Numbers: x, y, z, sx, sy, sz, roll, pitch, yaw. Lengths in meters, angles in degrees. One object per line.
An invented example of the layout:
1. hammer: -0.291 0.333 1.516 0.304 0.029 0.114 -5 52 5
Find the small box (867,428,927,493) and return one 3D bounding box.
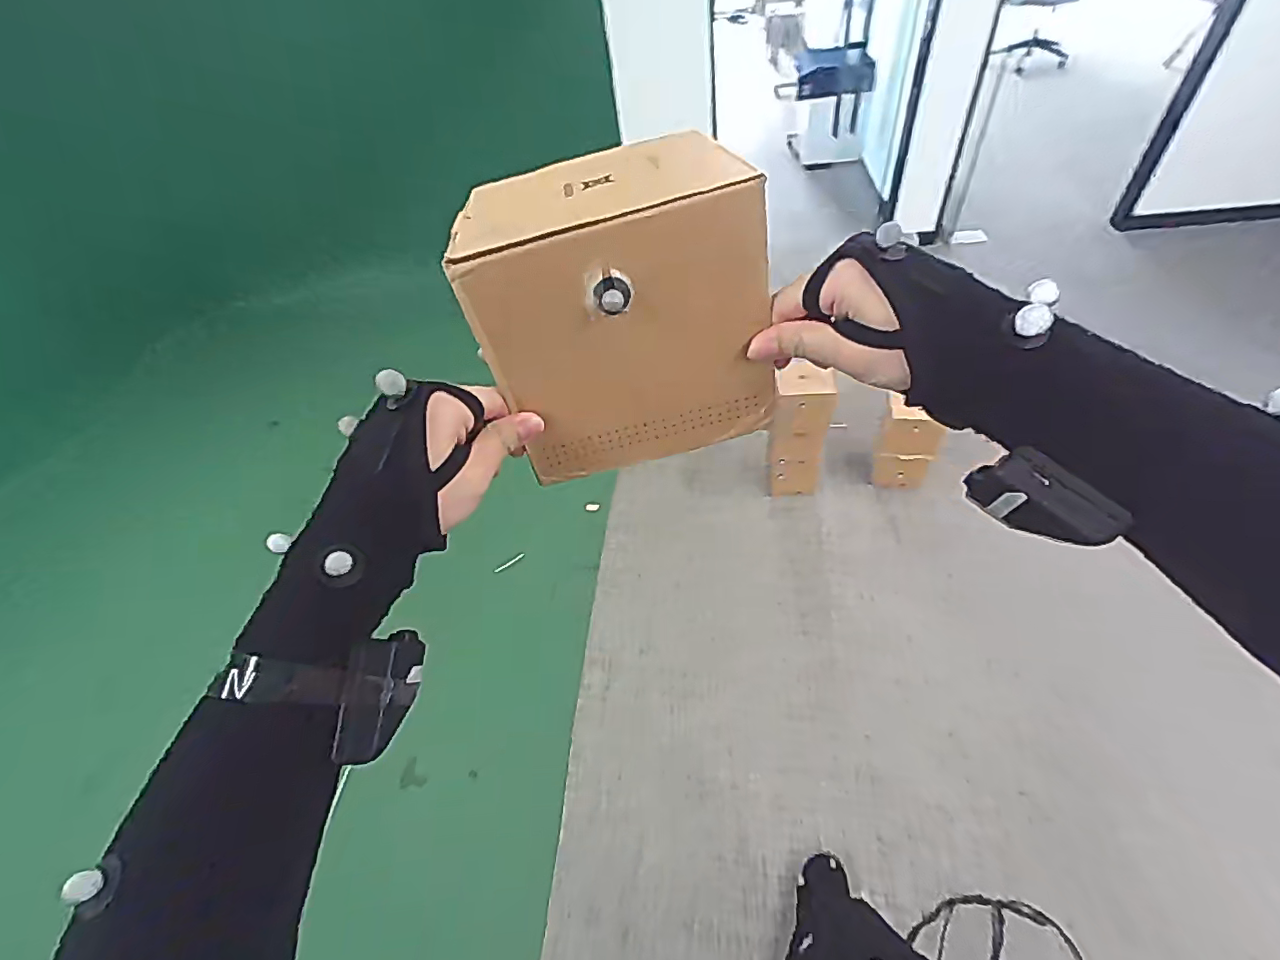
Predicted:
1. small box: 0.939 -0.070 1.987 0.168 0.176 0.179 5 51 13

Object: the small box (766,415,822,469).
1. small box: 0.537 -0.149 1.903 0.168 0.176 0.179 -2 47 7

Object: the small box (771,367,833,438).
1. small box: 0.522 -0.250 1.773 0.179 0.176 0.168 -1 48 8

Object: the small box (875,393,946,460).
1. small box: 0.930 -0.183 1.870 0.179 0.176 0.168 3 49 13

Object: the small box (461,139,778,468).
1. small box: -0.007 -0.129 0.402 0.179 0.176 0.168 -13 39 2
